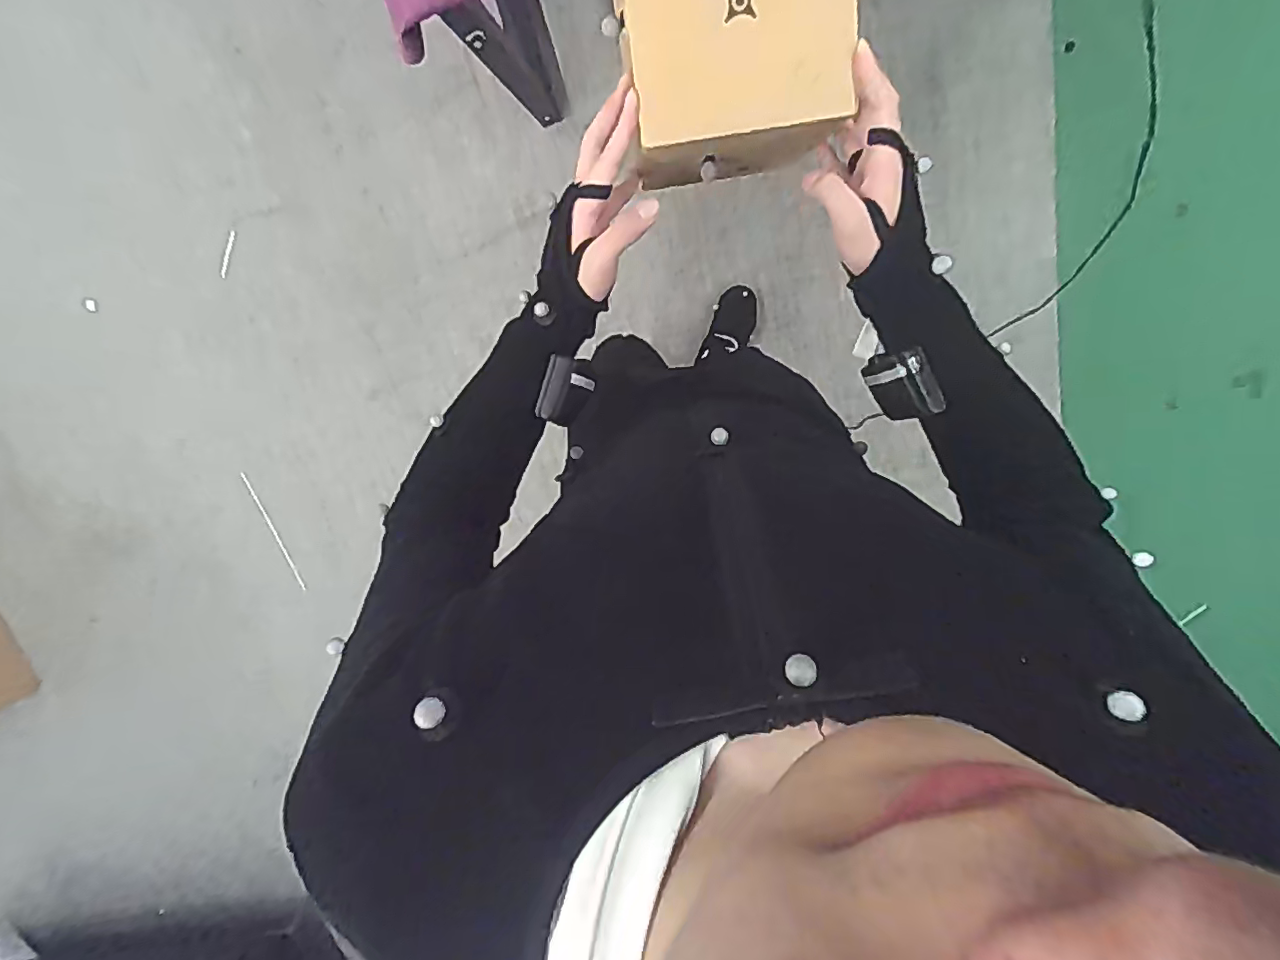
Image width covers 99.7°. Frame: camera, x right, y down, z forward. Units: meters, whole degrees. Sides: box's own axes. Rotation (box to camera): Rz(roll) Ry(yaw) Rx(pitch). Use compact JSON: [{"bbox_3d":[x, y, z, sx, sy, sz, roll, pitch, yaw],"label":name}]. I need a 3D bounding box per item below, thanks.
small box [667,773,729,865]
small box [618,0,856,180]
[{"bbox_3d":[0.171,1.002,1.612,0.168,0.176,0.179,-6,107,8],"label":"small box"},{"bbox_3d":[0.070,-0.371,0.457,0.168,0.176,0.179,-8,107,2],"label":"small box"}]
